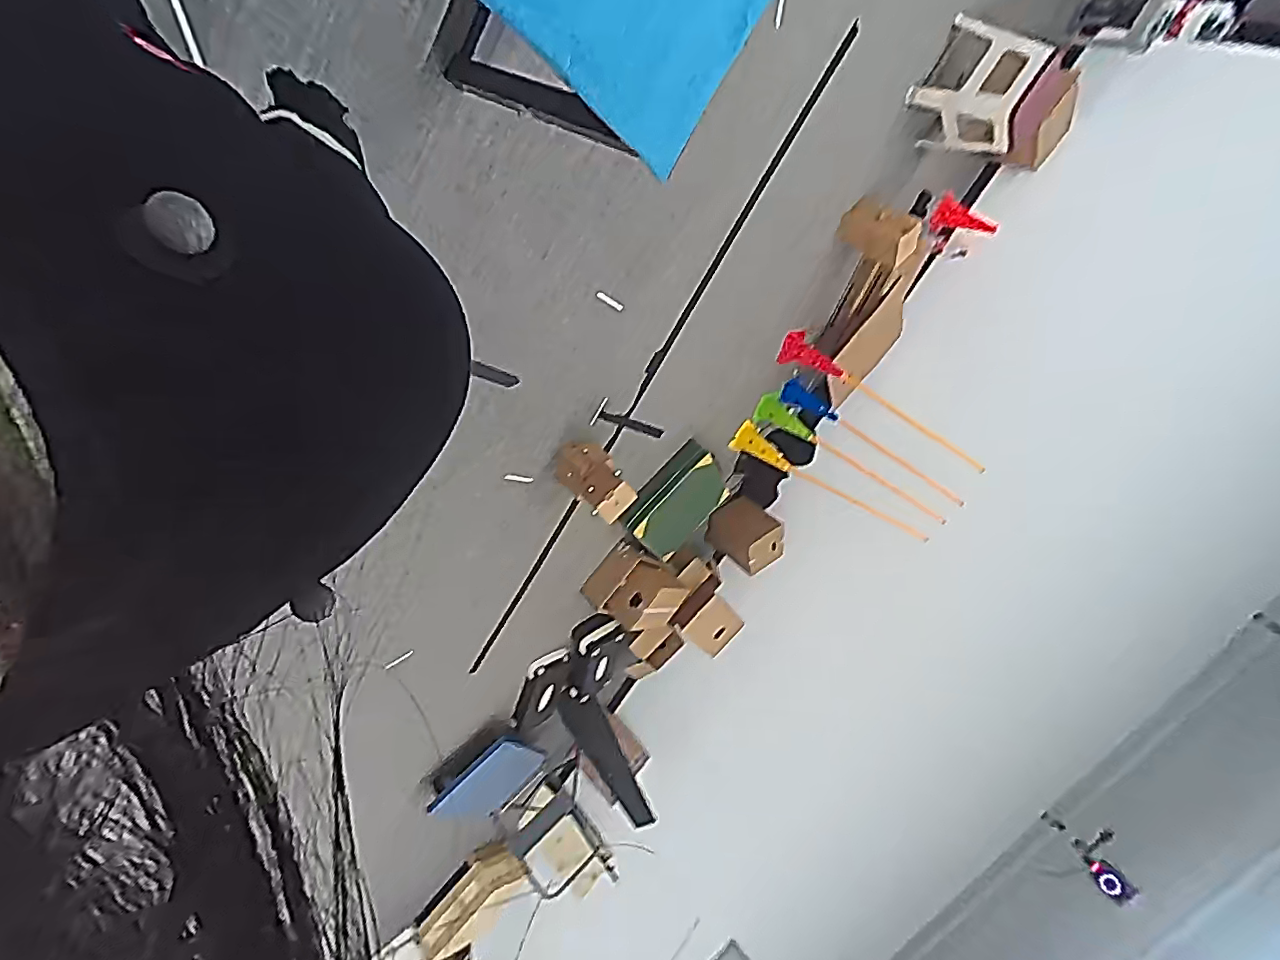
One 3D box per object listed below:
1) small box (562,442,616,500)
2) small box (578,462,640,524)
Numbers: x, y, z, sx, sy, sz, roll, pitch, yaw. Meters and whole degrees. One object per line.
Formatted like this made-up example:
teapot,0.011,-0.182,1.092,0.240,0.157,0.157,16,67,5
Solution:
small box,-0.227,-0.048,2.359,0.168,0.176,0.179,-25,143,-33
small box,-0.131,0.050,2.264,0.168,0.176,0.179,-44,149,-4
